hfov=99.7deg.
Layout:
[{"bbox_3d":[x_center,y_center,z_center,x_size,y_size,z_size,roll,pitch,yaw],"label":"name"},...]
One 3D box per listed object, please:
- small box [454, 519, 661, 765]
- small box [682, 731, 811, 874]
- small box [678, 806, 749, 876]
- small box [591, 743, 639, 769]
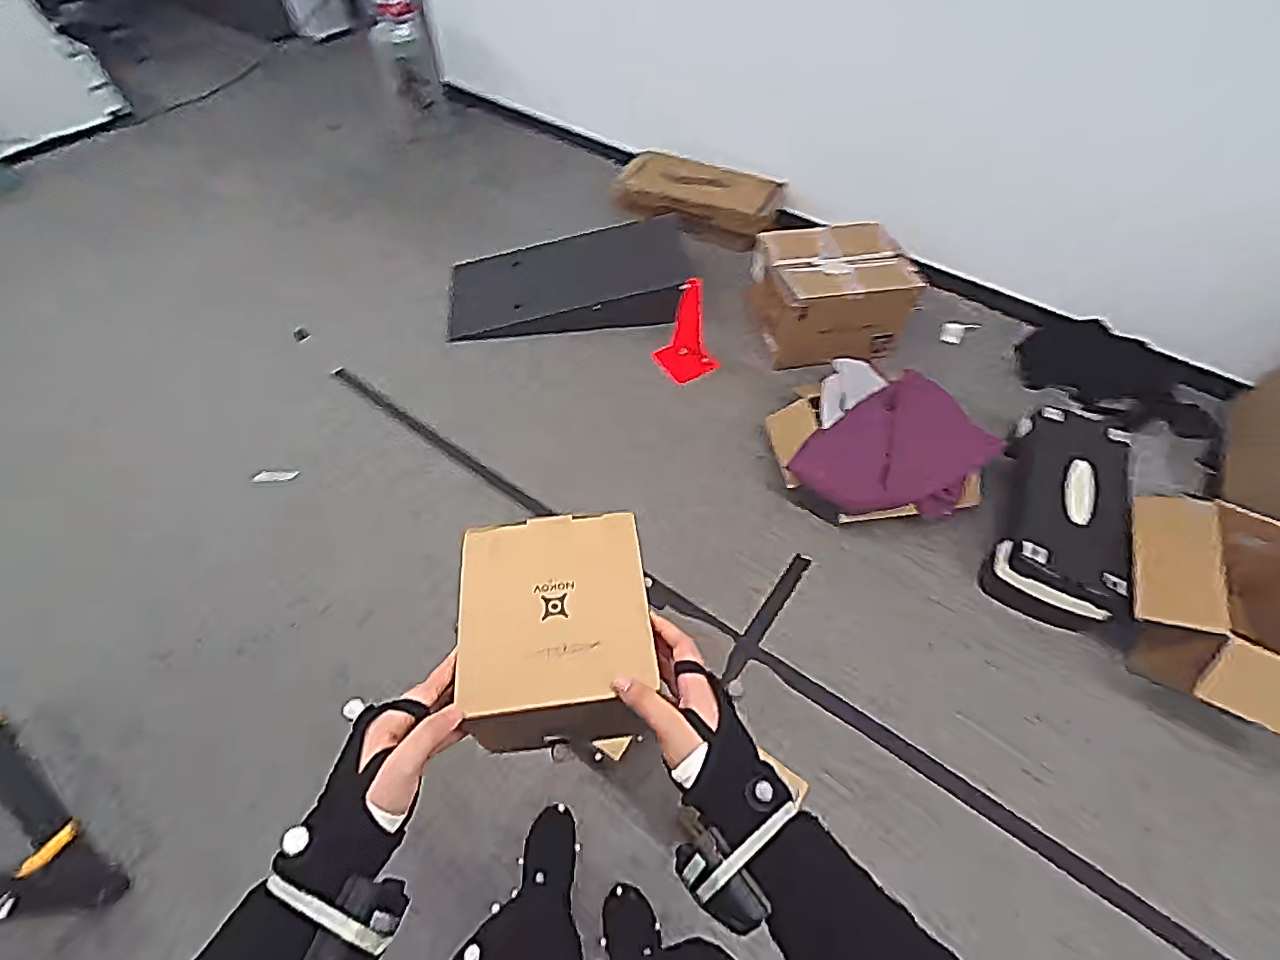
[{"bbox_3d":[-0.078,0.163,0.537,0.168,0.176,0.179,-7,55,-6],"label":"small box"},{"bbox_3d":[0.198,0.629,1.056,0.179,0.176,0.168,32,61,18],"label":"small box"},{"bbox_3d":[0.197,0.726,1.191,0.168,0.176,0.179,33,62,19],"label":"small box"},{"bbox_3d":[-0.071,0.564,1.290,0.179,0.176,0.168,29,59,18],"label":"small box"}]
